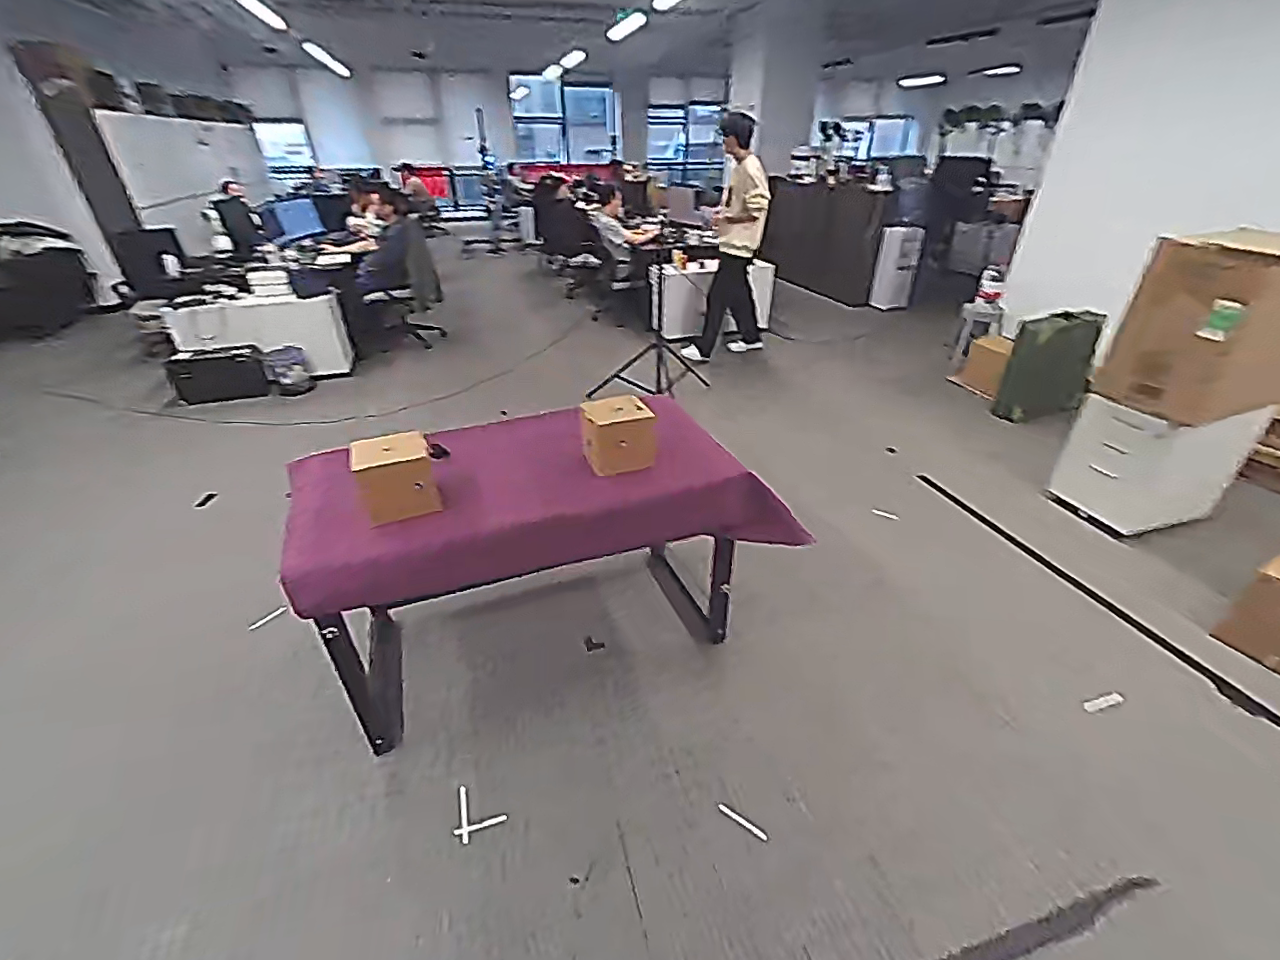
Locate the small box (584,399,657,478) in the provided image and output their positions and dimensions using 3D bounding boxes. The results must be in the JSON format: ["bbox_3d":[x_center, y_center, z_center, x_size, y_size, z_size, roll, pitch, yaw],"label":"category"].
[{"bbox_3d":[-0.056,-0.123,1.606,0.179,0.176,0.168,-13,33,-17],"label":"small box"}]

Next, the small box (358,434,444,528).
[{"bbox_3d":[-0.622,0.001,1.418,0.179,0.176,0.168,-15,33,-20],"label":"small box"}]
